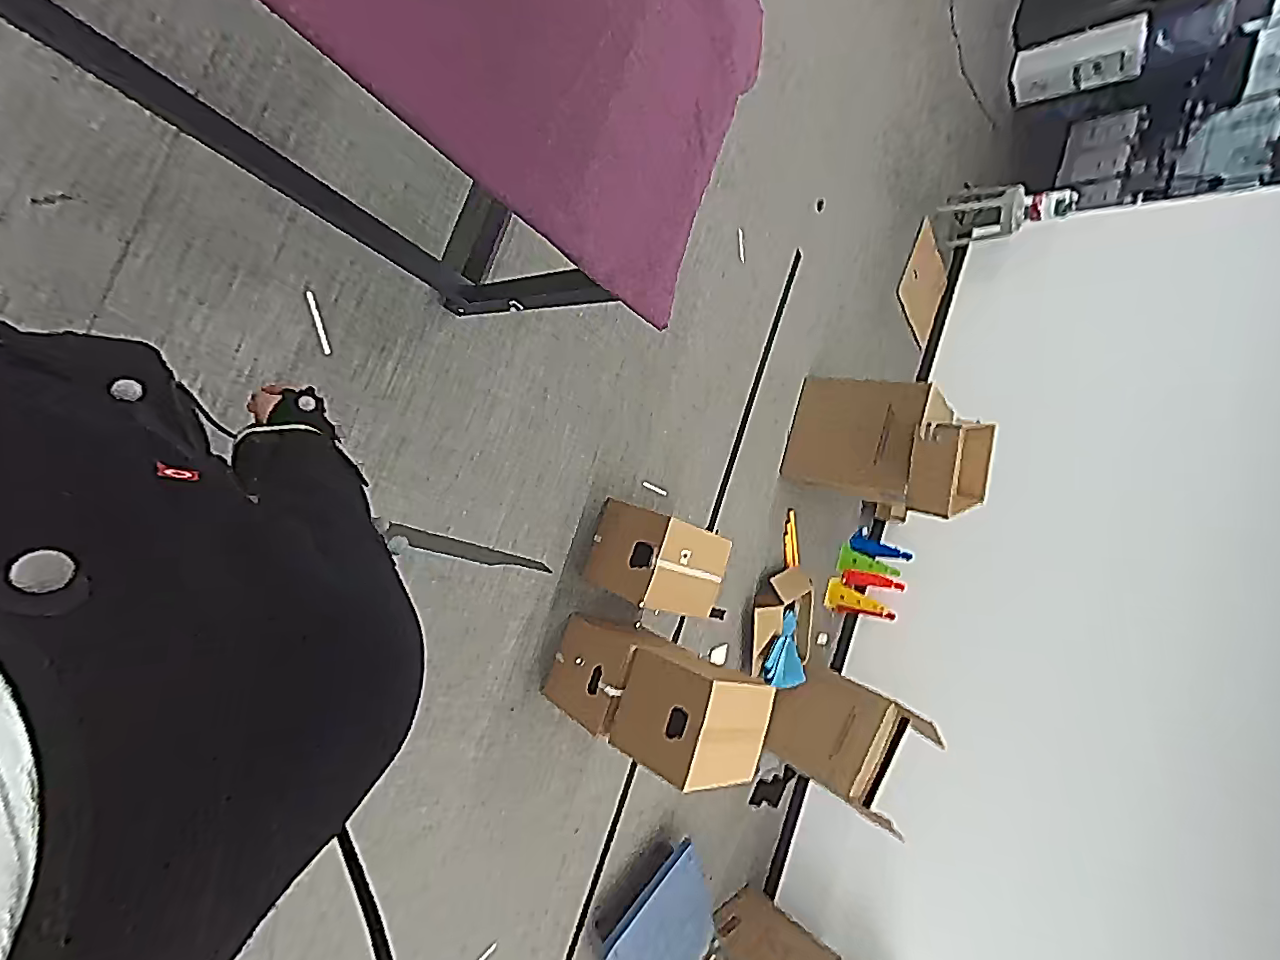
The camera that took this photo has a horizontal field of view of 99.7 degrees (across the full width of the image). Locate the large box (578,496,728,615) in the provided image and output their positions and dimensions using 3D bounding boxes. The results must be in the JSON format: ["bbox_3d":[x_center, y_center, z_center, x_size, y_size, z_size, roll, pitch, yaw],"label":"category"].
[{"bbox_3d":[0.052,0.277,1.978,0.408,0.320,0.320,24,82,-46],"label":"large box"}]
